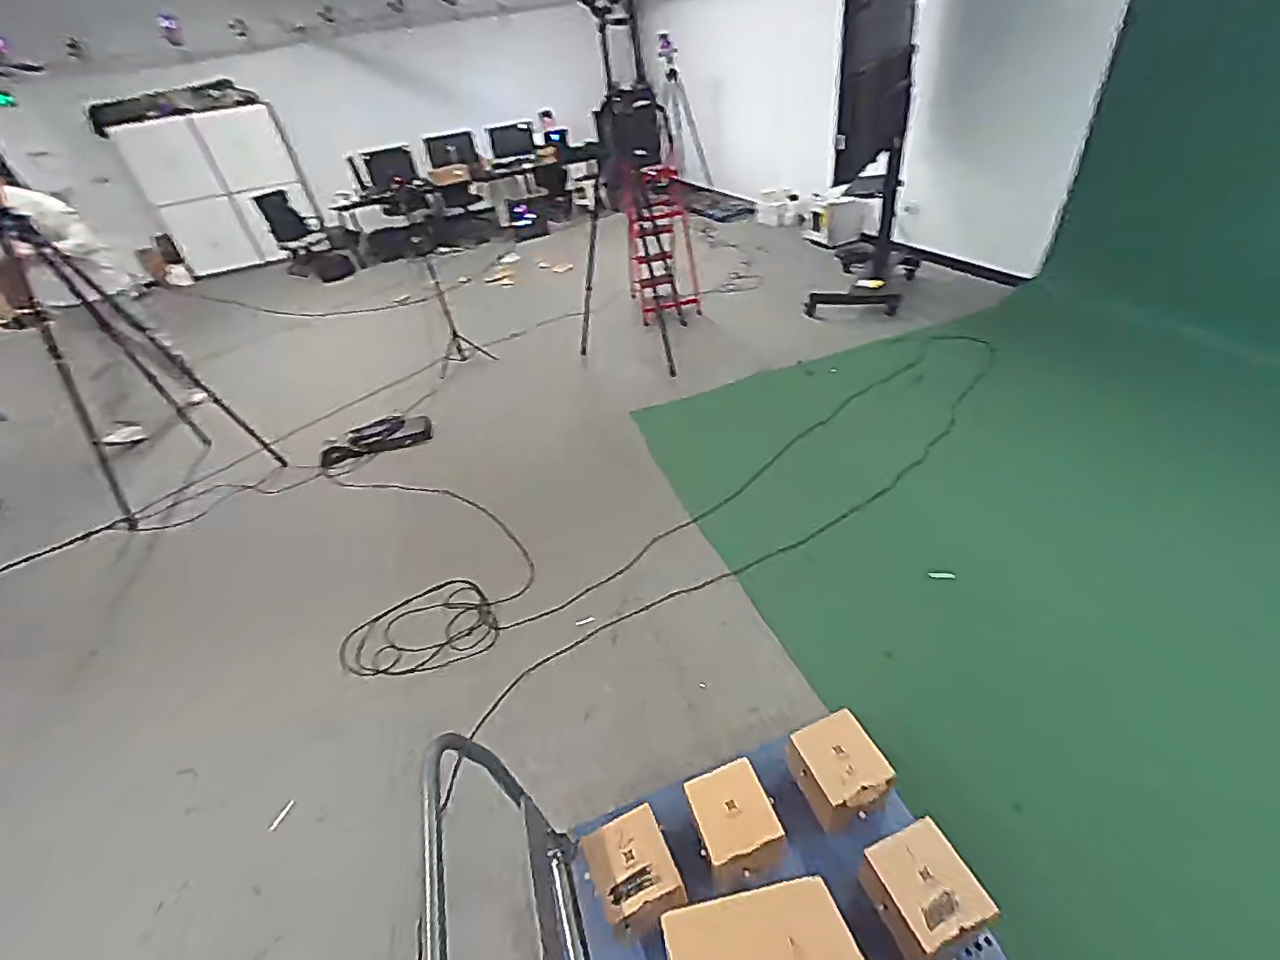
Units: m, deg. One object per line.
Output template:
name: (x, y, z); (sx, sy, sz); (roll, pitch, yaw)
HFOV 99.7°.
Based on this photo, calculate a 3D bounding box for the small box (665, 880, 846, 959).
small box: (0.132, 0.566, 0.569); (0.179, 0.176, 0.168); (-10, 33, -3)

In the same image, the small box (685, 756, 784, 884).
small box: (0.215, 0.787, 1.252); (0.168, 0.176, 0.179); (-18, 40, -11)

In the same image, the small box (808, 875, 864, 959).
small box: (0.323, 0.922, 1.052); (0.168, 0.176, 0.179); (-17, 39, -10)

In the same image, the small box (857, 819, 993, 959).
small box: (0.574, 0.850, 1.113); (0.168, 0.176, 0.179); (-18, 38, -12)

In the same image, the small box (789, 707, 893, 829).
small box: (0.474, 0.695, 1.305); (0.168, 0.176, 0.179); (-20, 39, -10)
